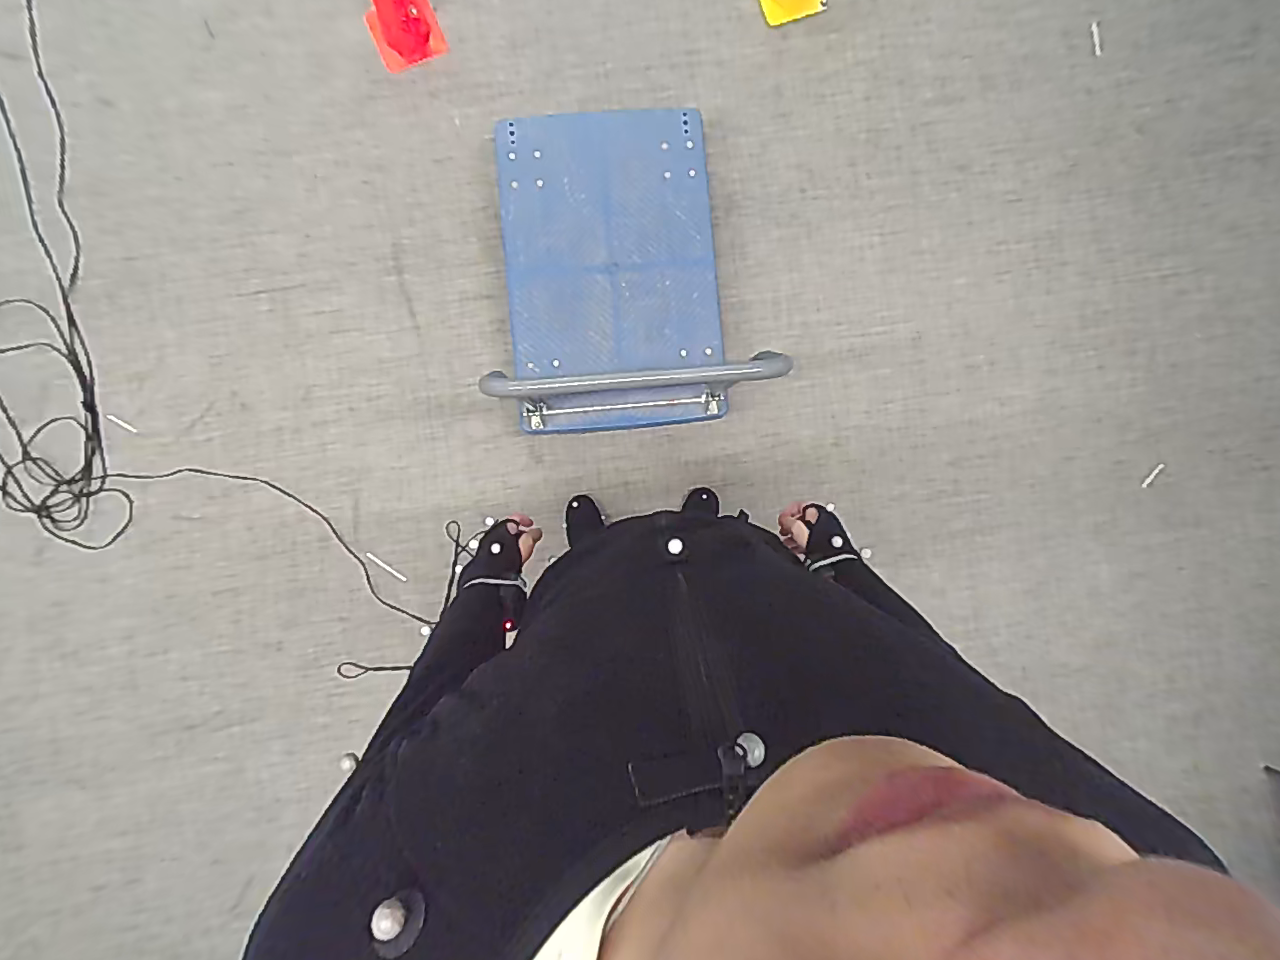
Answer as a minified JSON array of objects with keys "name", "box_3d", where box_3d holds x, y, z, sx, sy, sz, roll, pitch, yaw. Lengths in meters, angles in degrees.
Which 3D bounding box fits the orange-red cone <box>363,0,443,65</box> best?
[{"name":"orange-red cone","box_3d":[-0.709,-1.366,1.456,0.199,0.360,0.198,-23,89,-1]}]
